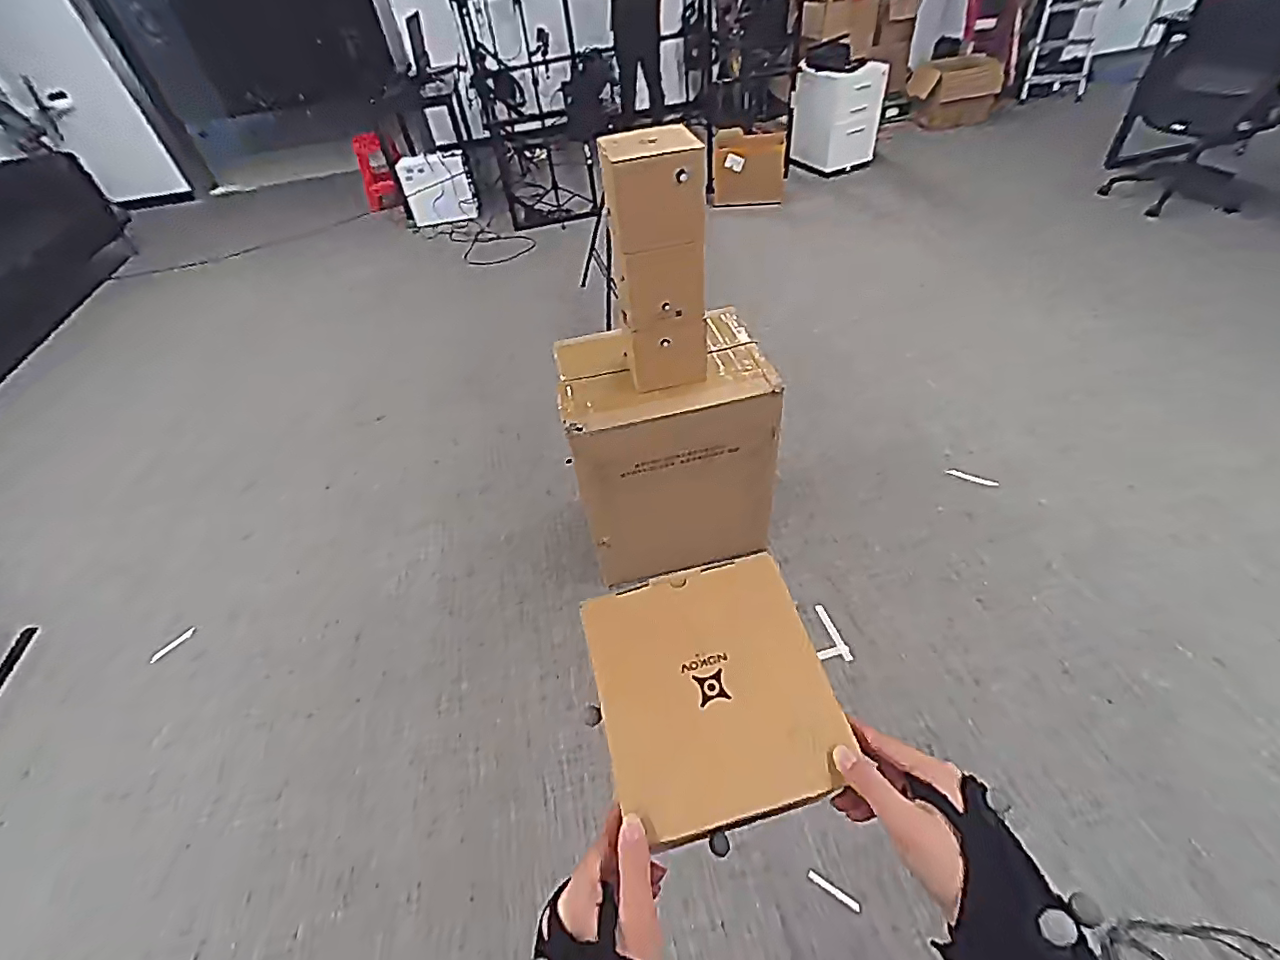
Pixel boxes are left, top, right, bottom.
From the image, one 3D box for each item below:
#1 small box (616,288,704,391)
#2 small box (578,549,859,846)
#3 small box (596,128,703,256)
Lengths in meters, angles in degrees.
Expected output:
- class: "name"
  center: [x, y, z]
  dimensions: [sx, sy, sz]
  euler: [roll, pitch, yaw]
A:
- class: "small box"
  center: [0.051, -0.334, 1.299]
  dimensions: [0.179, 0.176, 0.168]
  euler: [-12, 46, -5]
- class: "small box"
  center: [0.055, 0.190, 0.461]
  dimensions: [0.168, 0.176, 0.179]
  euler: [-14, 53, -5]
- class: "small box"
  center: [0.019, -0.568, 1.069]
  dimensions: [0.179, 0.176, 0.168]
  euler: [-13, 46, -4]
